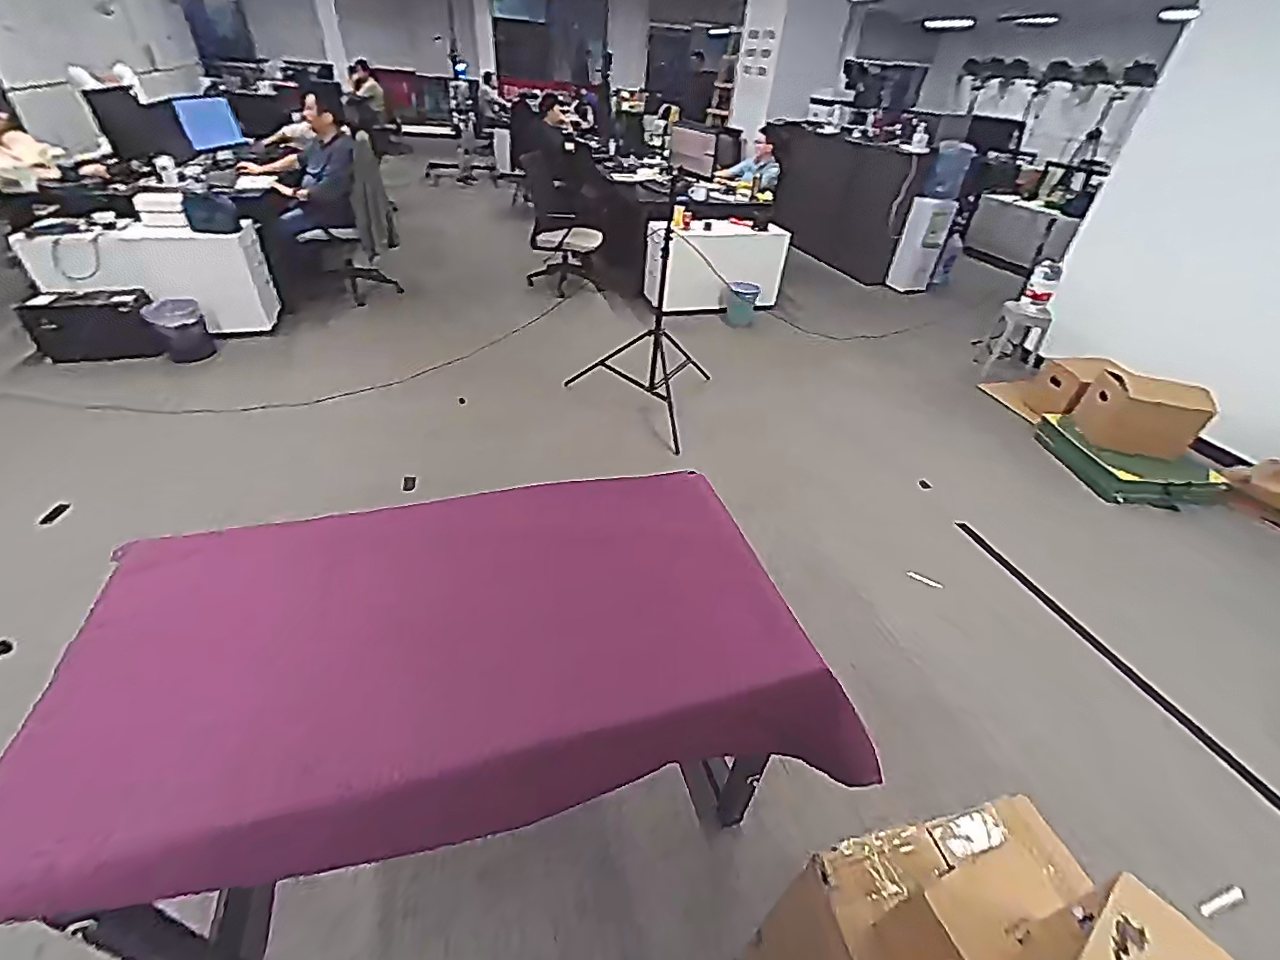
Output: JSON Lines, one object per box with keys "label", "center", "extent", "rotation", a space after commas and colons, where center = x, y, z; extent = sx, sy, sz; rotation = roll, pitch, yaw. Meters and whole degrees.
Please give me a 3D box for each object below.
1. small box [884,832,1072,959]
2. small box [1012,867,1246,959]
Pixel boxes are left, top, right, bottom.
{"label": "small box", "center": [0.443, 0.589, 0.674], "extent": [0.168, 0.176, 0.179], "rotation": [-12, 41, -18]}
{"label": "small box", "center": [0.468, 0.518, 0.498], "extent": [0.168, 0.176, 0.179], "rotation": [-22, 44, -31]}
